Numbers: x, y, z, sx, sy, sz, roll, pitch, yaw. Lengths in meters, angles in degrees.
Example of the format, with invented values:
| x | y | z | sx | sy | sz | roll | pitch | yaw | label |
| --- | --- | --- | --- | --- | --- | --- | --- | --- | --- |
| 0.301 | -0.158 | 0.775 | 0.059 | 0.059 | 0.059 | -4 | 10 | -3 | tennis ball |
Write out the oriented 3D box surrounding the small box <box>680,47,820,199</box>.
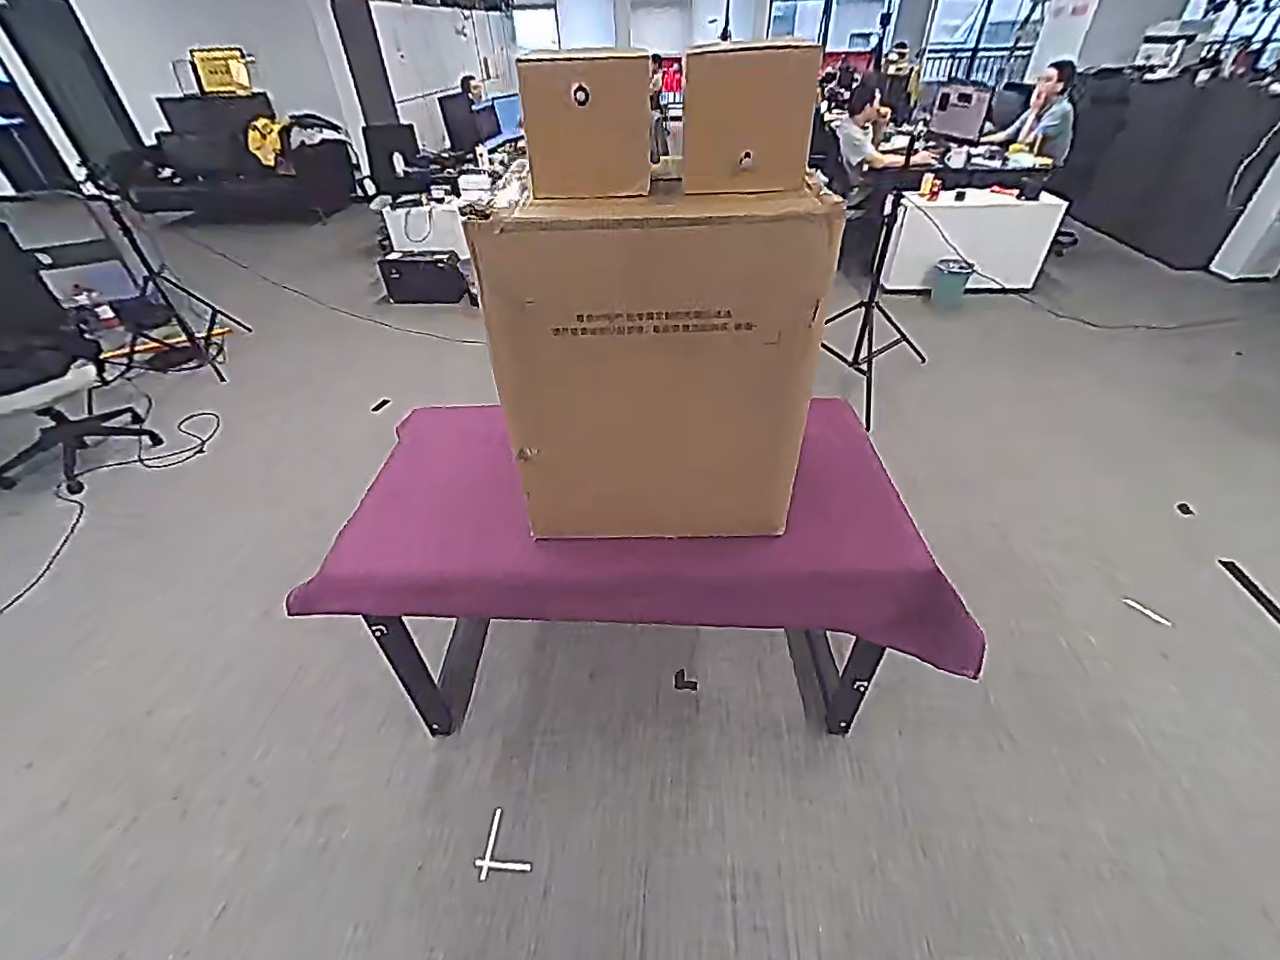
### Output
| x | y | z | sx | sy | sz | roll | pitch | yaw | label |
| --- | --- | --- | --- | --- | --- | --- | --- | --- | --- |
| 0.150 | -0.531 | 0.805 | 0.179 | 0.176 | 0.168 | 0 | 40 | 3 | small box |
